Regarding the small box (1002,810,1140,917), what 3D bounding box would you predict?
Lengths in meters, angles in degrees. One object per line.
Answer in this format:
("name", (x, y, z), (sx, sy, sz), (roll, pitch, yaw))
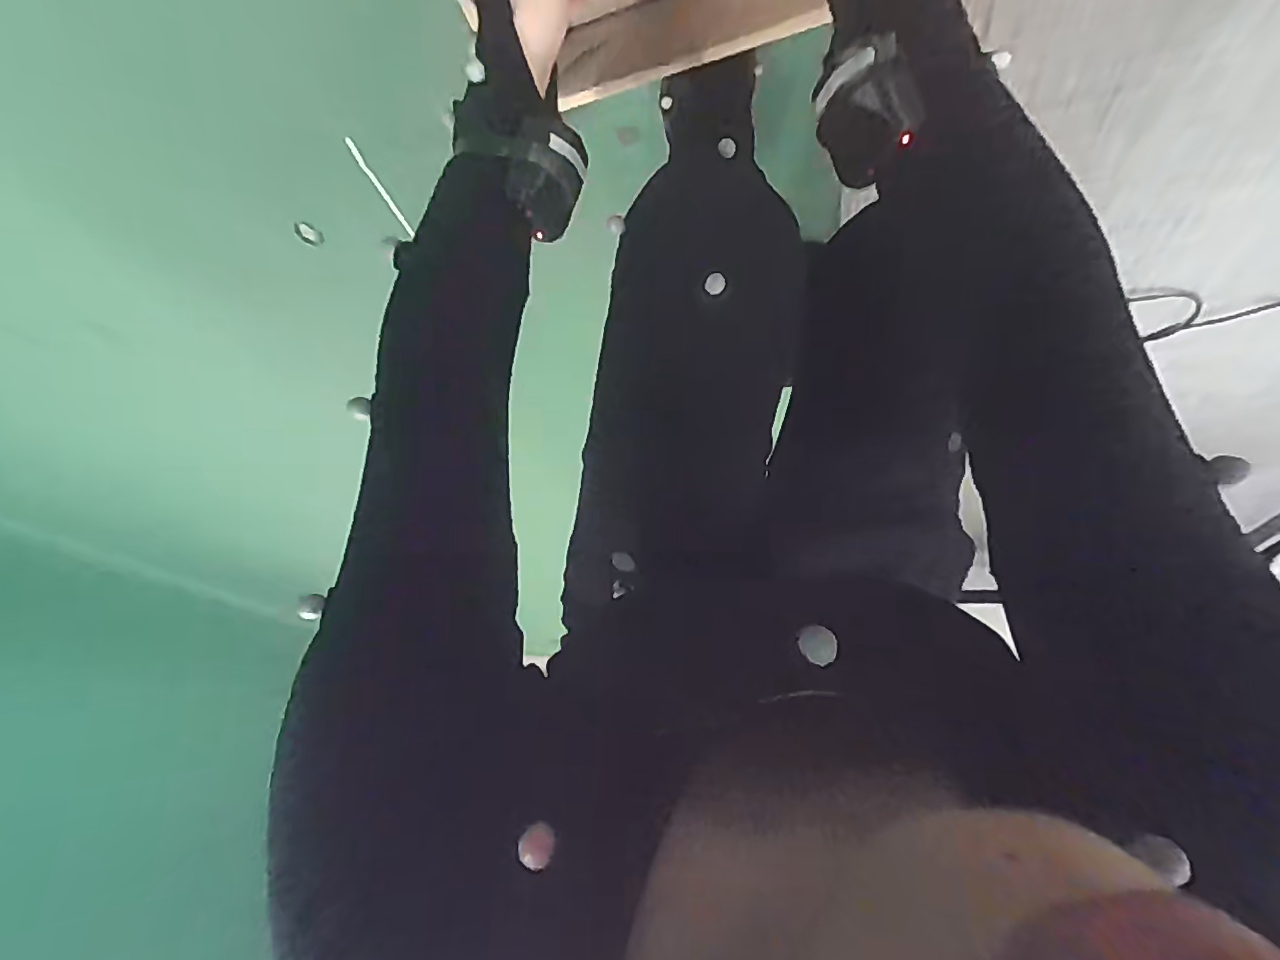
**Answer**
("small box", (0.930, 0.832, 1.190), (0.179, 0.176, 0.168), (-6, 150, 17))
